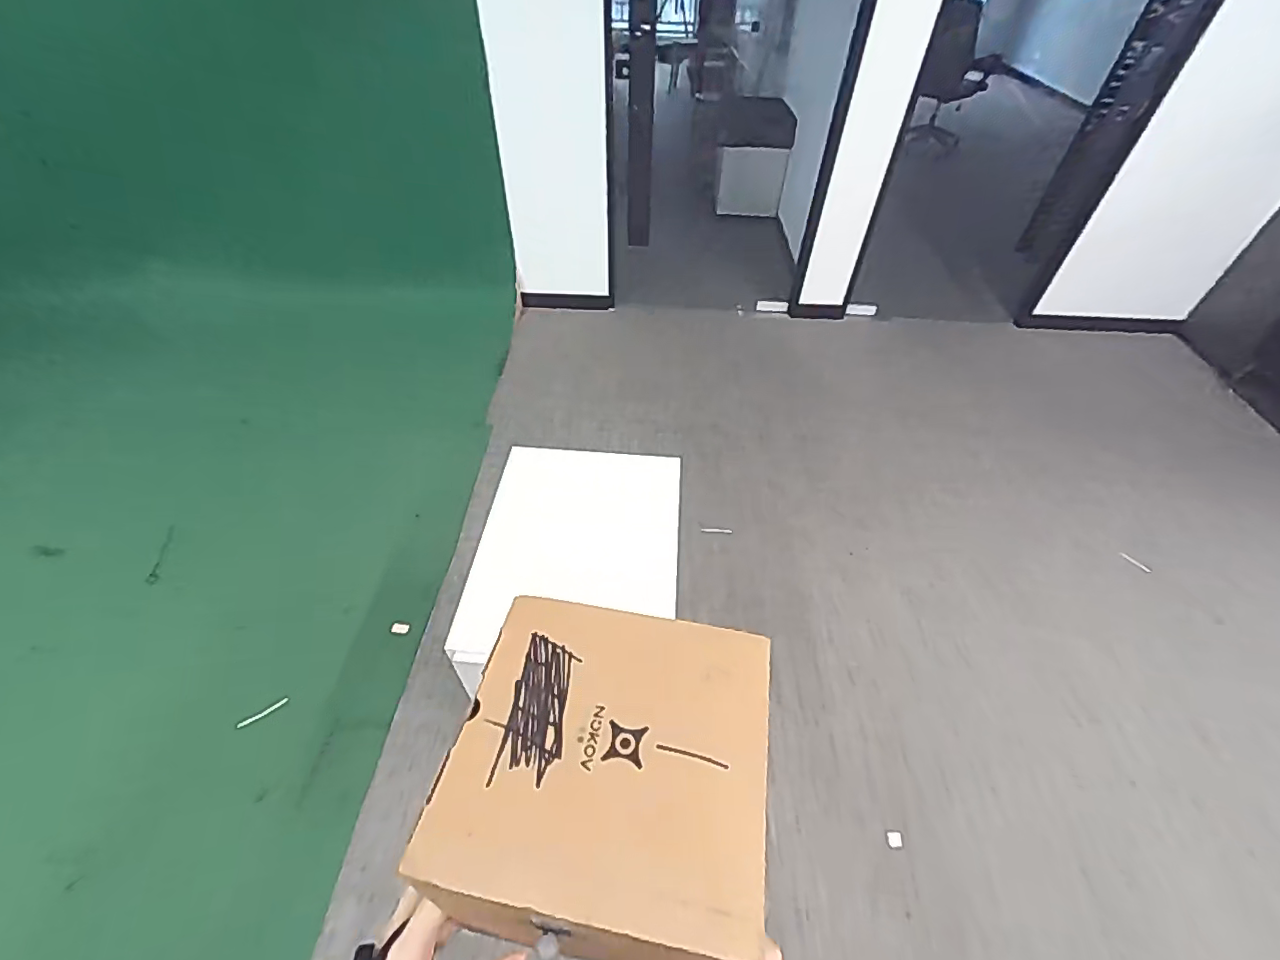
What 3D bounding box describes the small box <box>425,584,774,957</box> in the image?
[{"bbox_3d":[-0.012,0.199,0.374,0.179,0.176,0.168,9,45,7],"label":"small box"}]
